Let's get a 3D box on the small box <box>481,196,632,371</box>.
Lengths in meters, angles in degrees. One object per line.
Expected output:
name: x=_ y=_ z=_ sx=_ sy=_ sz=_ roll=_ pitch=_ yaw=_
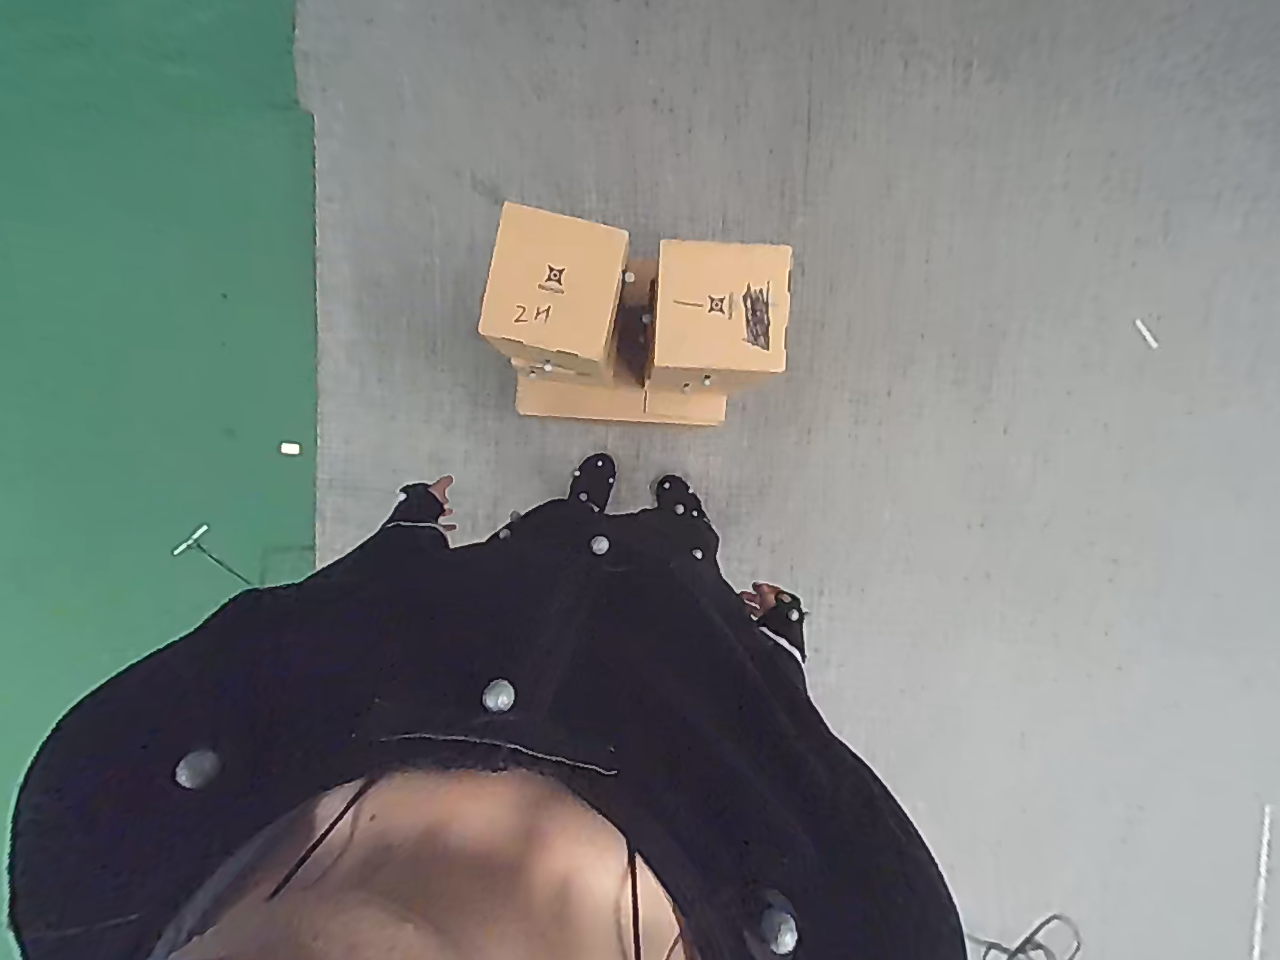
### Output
small box: x=-0.113 y=-0.270 z=0.783 sx=0.168 sy=0.176 sz=0.179 roll=13 pitch=94 yaw=-2
